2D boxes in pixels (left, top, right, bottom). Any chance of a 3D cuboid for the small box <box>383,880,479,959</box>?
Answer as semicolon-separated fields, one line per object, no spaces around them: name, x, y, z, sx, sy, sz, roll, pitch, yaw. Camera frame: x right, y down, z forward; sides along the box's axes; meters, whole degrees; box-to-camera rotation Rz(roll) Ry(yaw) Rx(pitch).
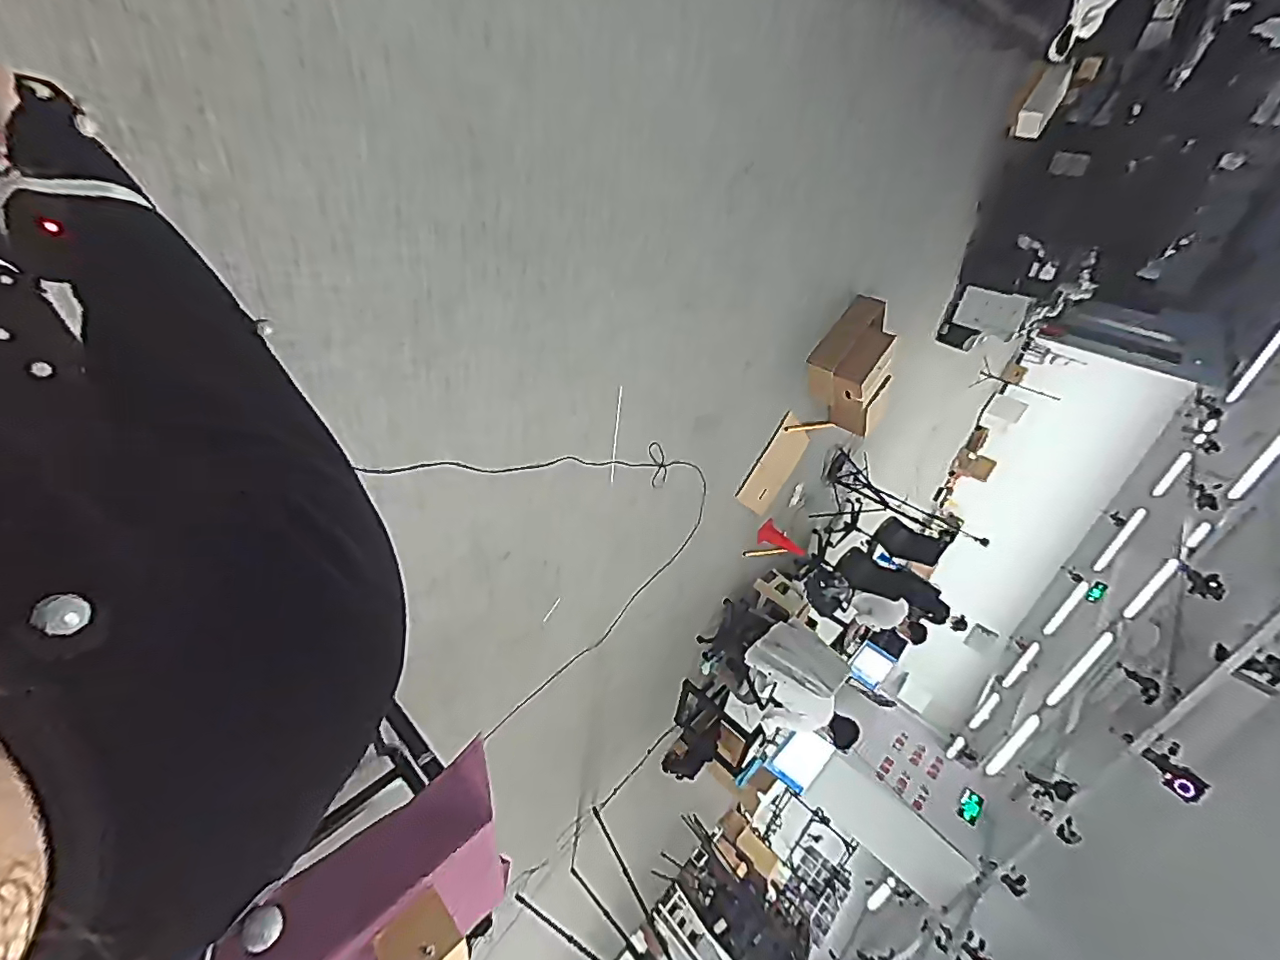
small box;-0.551;1.222;1.433;0.179;0.176;0.168;-25;135;-40
